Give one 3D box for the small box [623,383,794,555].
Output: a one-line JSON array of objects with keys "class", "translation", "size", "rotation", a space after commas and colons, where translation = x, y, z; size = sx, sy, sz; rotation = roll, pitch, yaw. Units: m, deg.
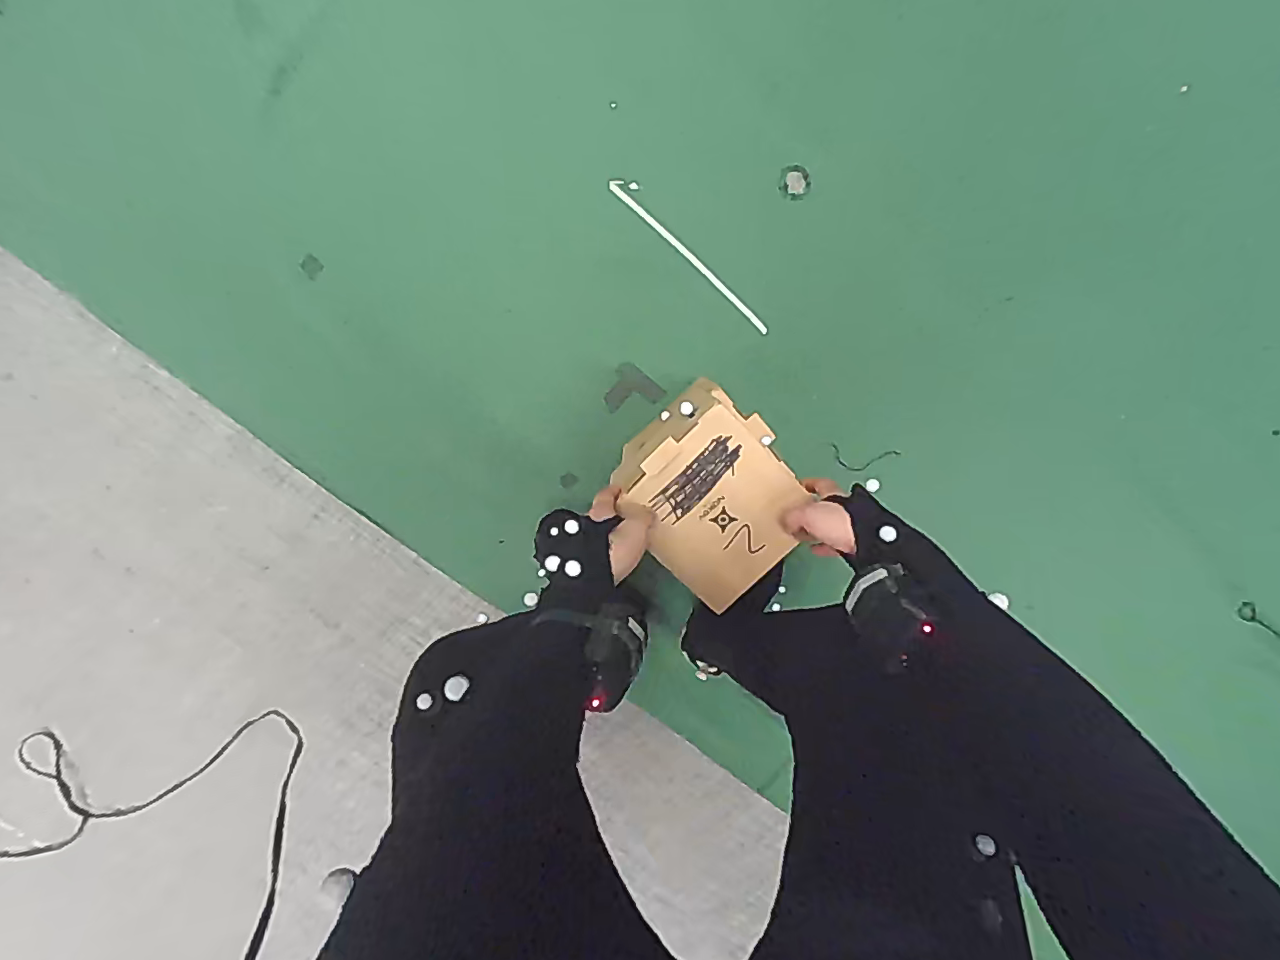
[{"class": "small box", "translation": [0.094, -0.026, 0.806], "size": [0.179, 0.176, 0.168], "rotation": [-41, 102, 9]}]
